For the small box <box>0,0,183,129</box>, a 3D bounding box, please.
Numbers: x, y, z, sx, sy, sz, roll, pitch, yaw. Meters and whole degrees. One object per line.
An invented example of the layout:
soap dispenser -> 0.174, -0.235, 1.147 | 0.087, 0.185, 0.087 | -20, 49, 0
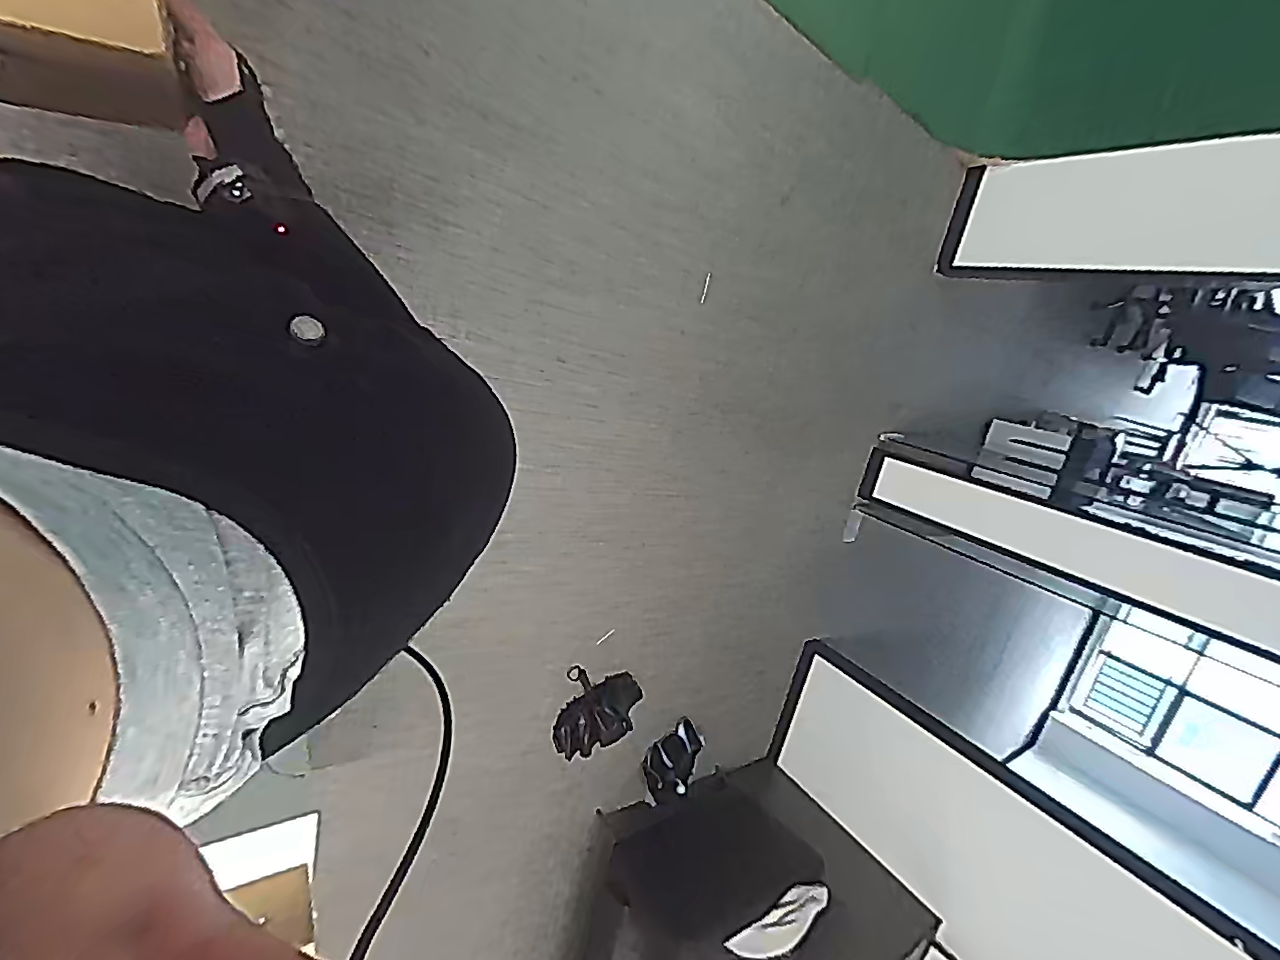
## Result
small box -> -0.429, -0.358, 0.352 | 0.179, 0.176, 0.168 | -9, 108, -35

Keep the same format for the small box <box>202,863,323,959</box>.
small box -> -0.710, 0.878, 1.015 | 0.179, 0.176, 0.168 | 1, 109, -37
